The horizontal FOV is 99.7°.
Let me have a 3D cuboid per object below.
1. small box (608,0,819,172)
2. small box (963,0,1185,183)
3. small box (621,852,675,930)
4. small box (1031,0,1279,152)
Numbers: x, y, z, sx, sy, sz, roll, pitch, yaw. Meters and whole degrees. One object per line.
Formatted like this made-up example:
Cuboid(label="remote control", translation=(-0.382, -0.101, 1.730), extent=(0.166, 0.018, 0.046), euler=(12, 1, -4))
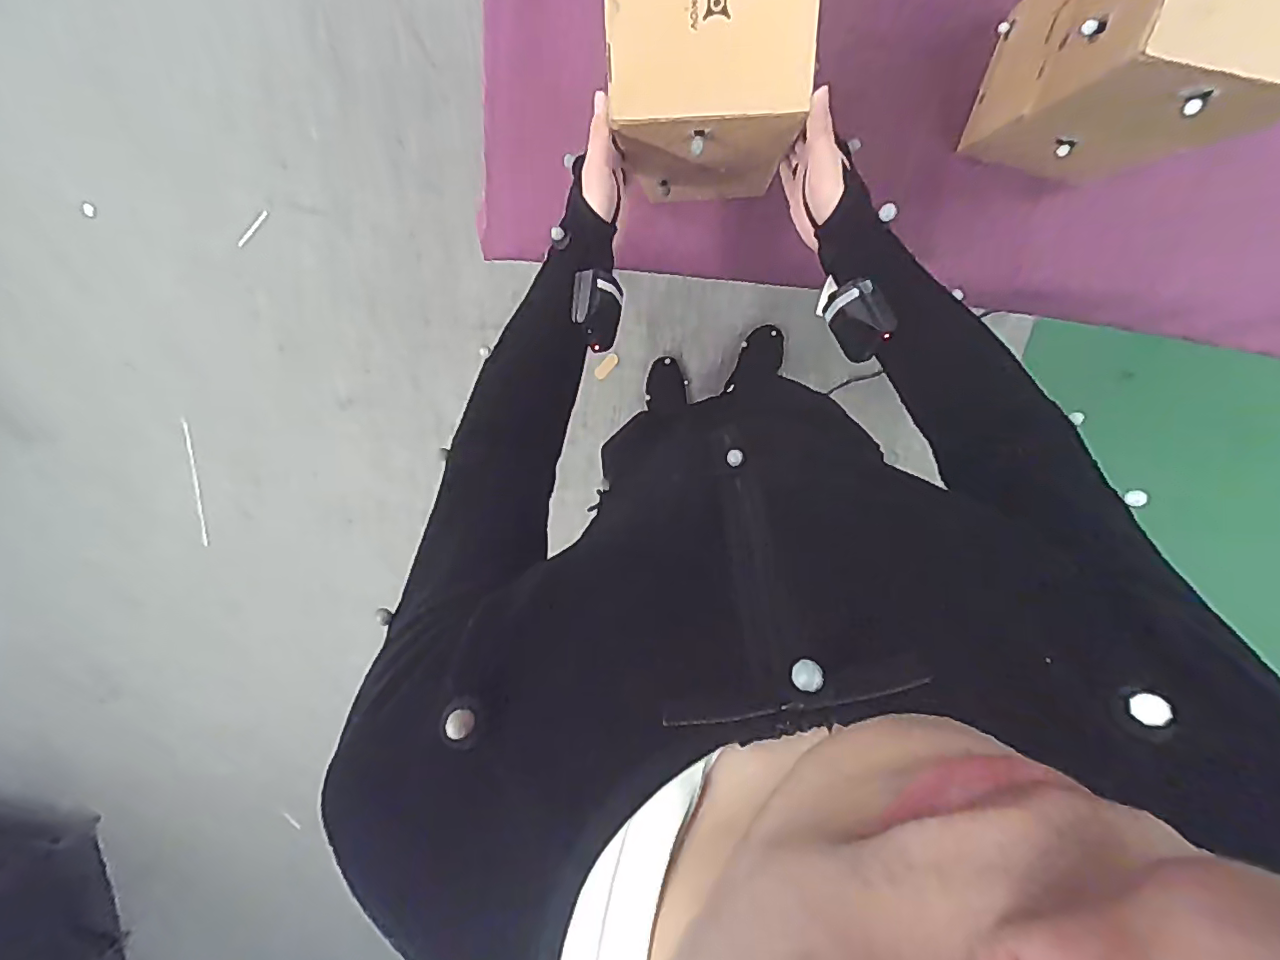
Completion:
Cuboid(label="small box", translation=(0.067, -0.410, 0.523), extent=(0.179, 0.176, 0.168), euler=(1, 107, 6))
Cuboid(label="small box", translation=(0.518, -0.464, 0.625), extent=(0.179, 0.176, 0.168), euler=(15, 109, 1))
Cuboid(label="small box", translation=(0.034, 1.597, 2.110), extent=(0.179, 0.176, 0.168), euler=(11, 110, 3))
Cuboid(label="small box", translation=(0.498, -0.410, 0.473), extent=(0.179, 0.176, 0.168), euler=(14, 110, 2))
